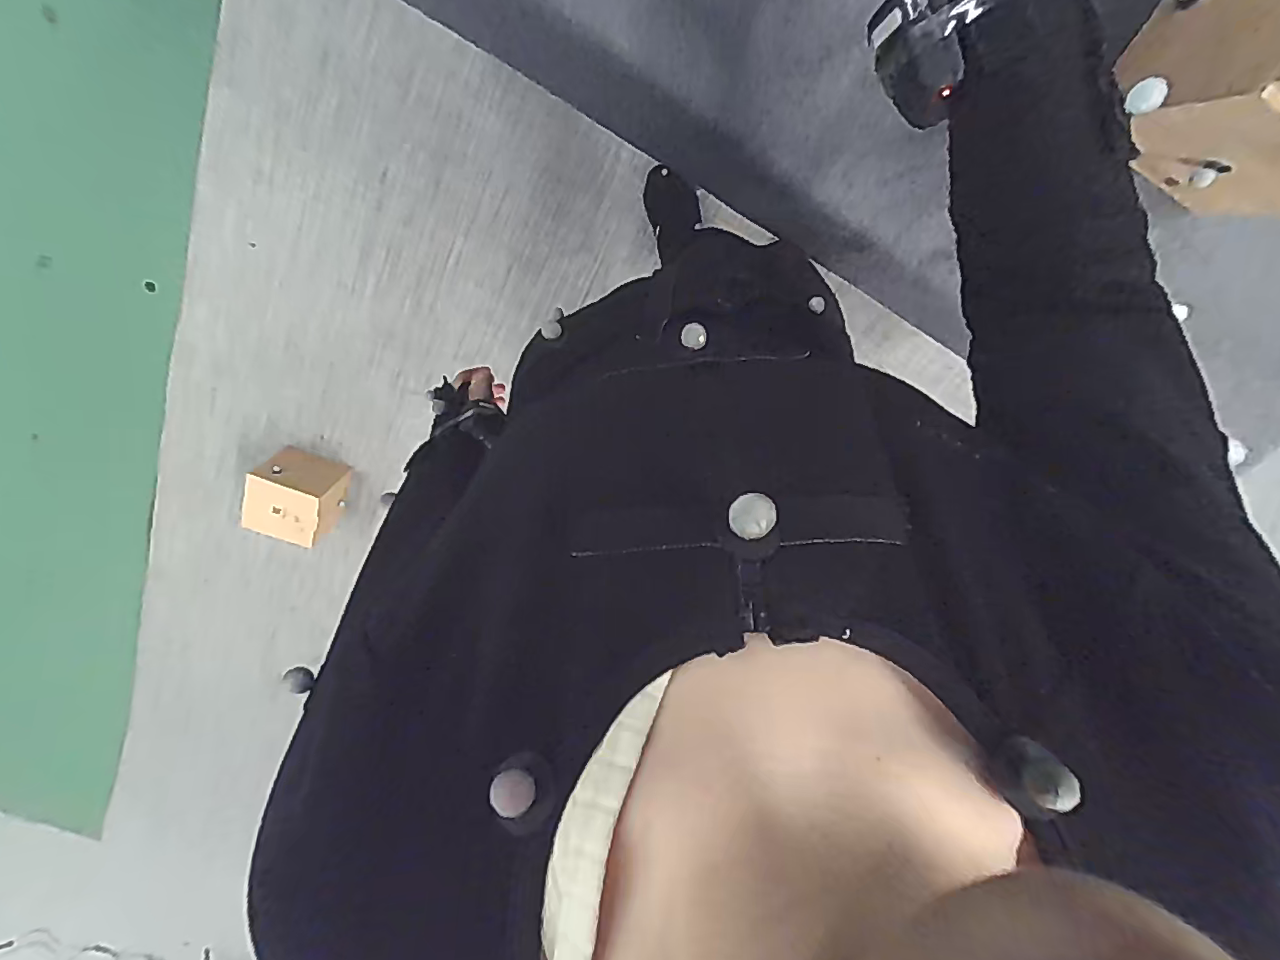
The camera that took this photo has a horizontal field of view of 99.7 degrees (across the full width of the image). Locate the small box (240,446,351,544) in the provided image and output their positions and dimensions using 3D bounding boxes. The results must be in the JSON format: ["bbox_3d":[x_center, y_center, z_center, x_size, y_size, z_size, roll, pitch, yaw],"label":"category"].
[{"bbox_3d":[-0.885,0.031,1.398,0.179,0.176,0.168,21,117,-11],"label":"small box"}]

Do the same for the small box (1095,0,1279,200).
[{"bbox_3d":[0.487,-0.321,0.387,0.168,0.176,0.179,24,116,-12],"label":"small box"}]
